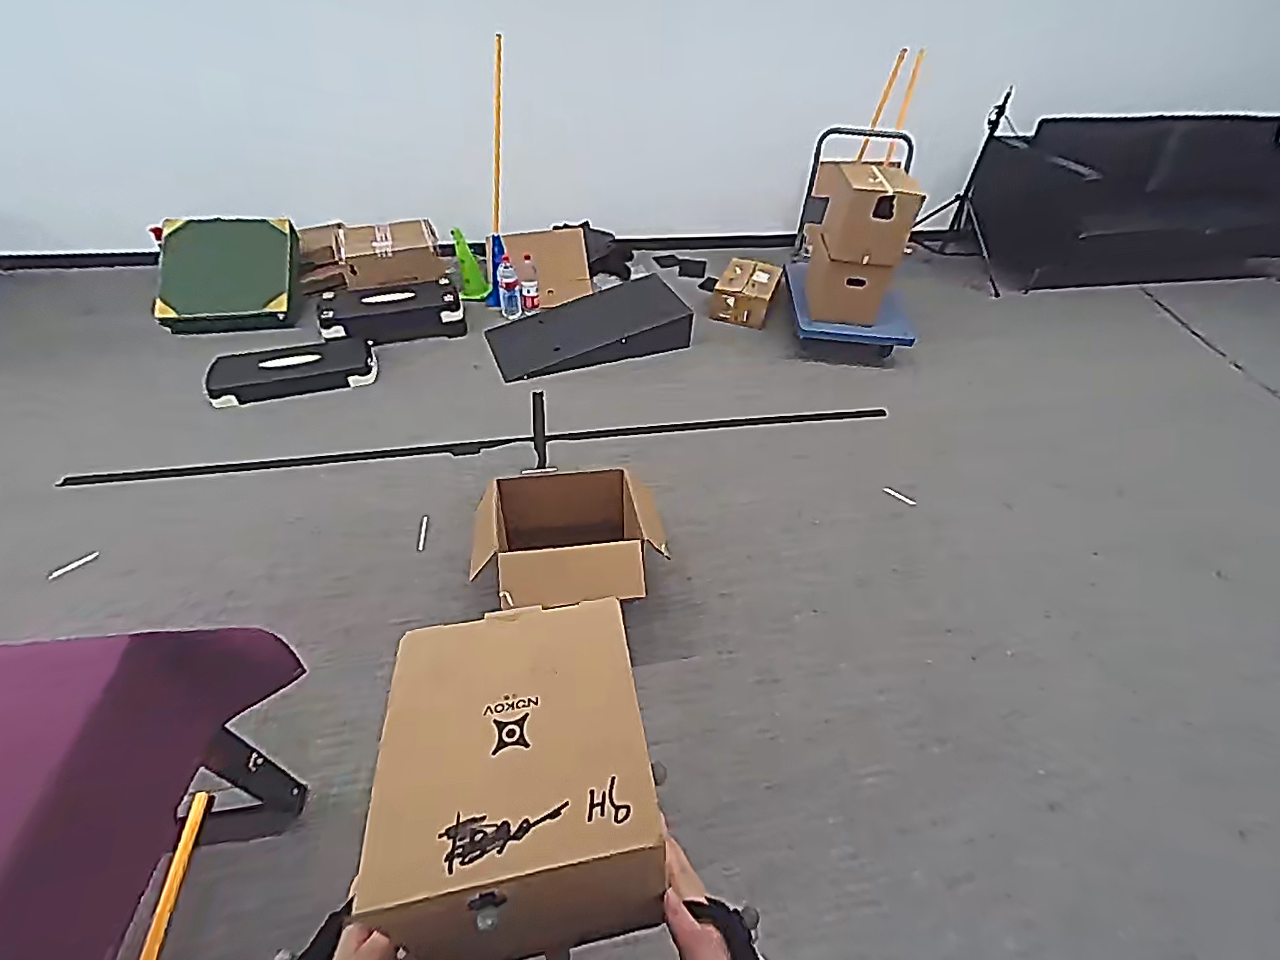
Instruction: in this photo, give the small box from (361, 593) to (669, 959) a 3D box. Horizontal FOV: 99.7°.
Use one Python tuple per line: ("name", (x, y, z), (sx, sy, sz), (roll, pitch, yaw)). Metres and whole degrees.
("small box", (-0.076, 0.214, 0.402), (0.168, 0.176, 0.179), (-8, 39, -6))
